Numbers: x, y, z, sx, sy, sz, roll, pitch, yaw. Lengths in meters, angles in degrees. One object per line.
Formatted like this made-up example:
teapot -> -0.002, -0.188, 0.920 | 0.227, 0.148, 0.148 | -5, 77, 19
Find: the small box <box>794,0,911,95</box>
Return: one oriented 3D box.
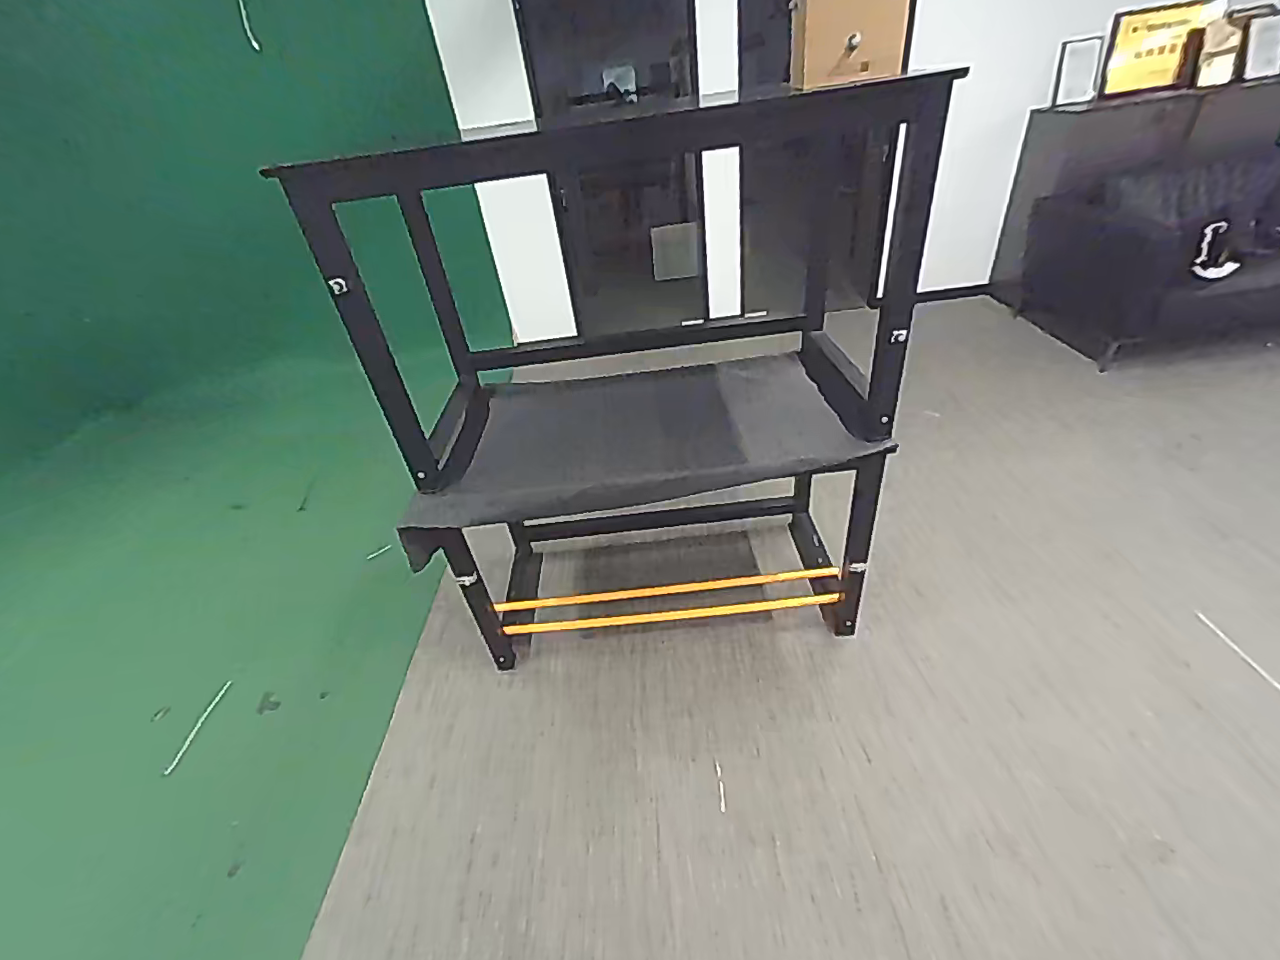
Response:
small box -> 0.372, -0.804, 0.972 | 0.168, 0.176, 0.179 | -3, 36, 9
